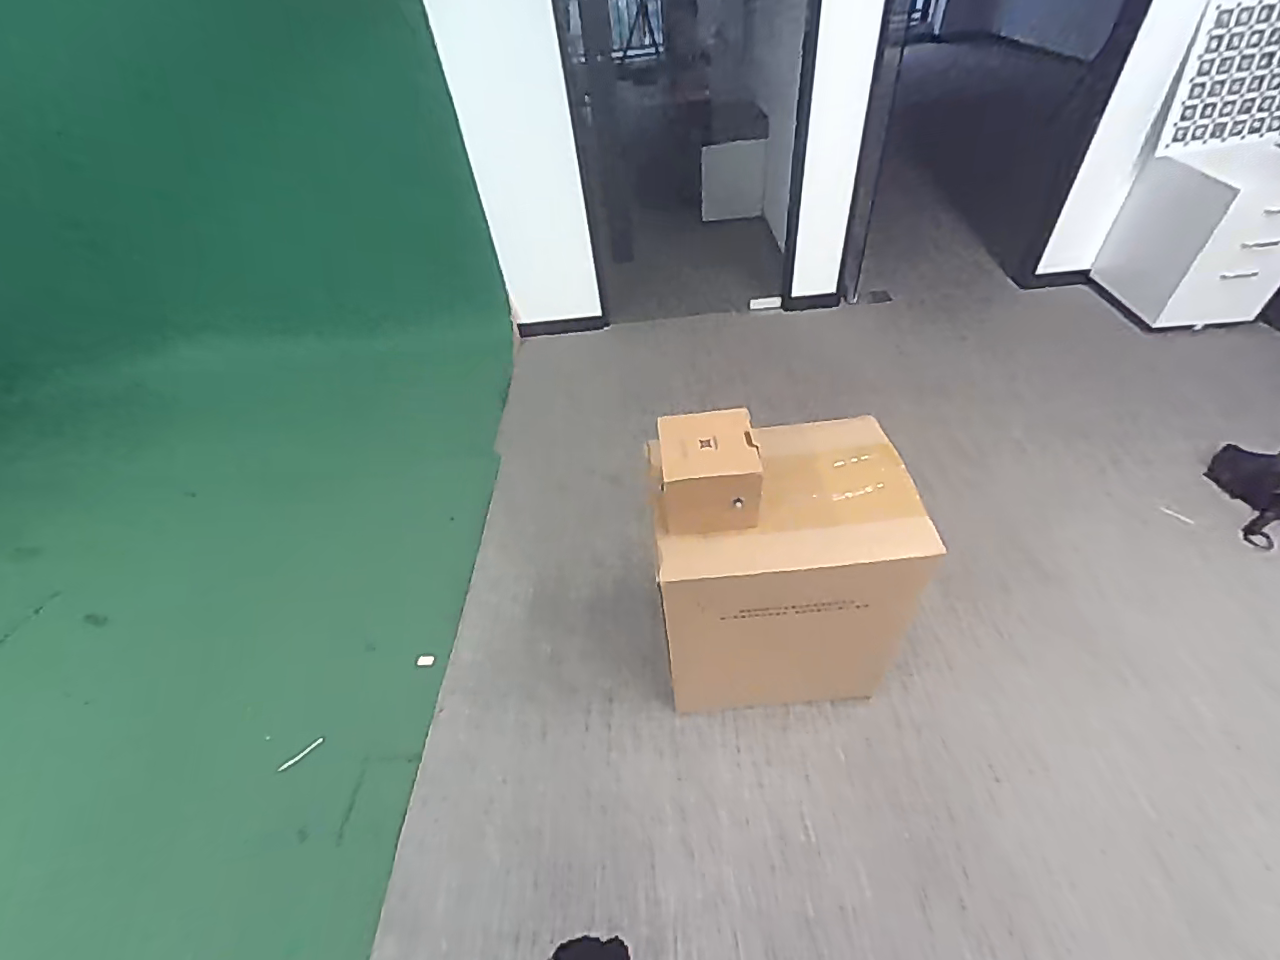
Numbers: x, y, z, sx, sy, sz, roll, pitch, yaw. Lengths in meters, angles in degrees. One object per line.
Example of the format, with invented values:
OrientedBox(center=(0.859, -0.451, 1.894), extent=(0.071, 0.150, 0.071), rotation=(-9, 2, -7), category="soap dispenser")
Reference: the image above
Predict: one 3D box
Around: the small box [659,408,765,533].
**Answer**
OrientedBox(center=(0.135, -0.015, 1.050), extent=(0.179, 0.176, 0.168), rotation=(-7, 49, 3), category="small box")
